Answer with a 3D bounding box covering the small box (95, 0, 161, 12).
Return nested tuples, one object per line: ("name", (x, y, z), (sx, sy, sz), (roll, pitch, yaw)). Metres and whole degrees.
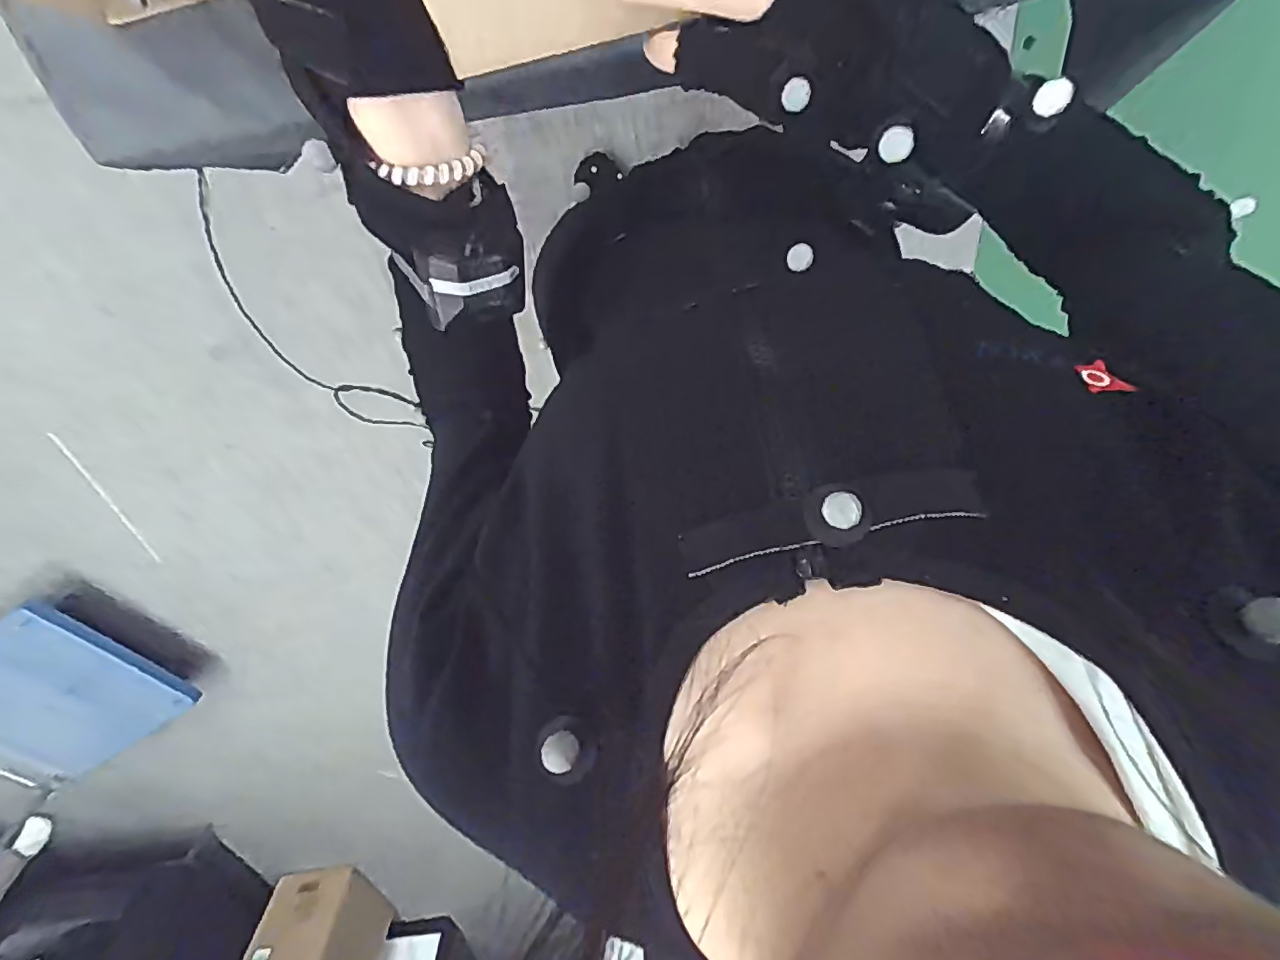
("small box", (-0.429, -0.477, 0.383), (0.168, 0.176, 0.179), (-11, 121, 4))
